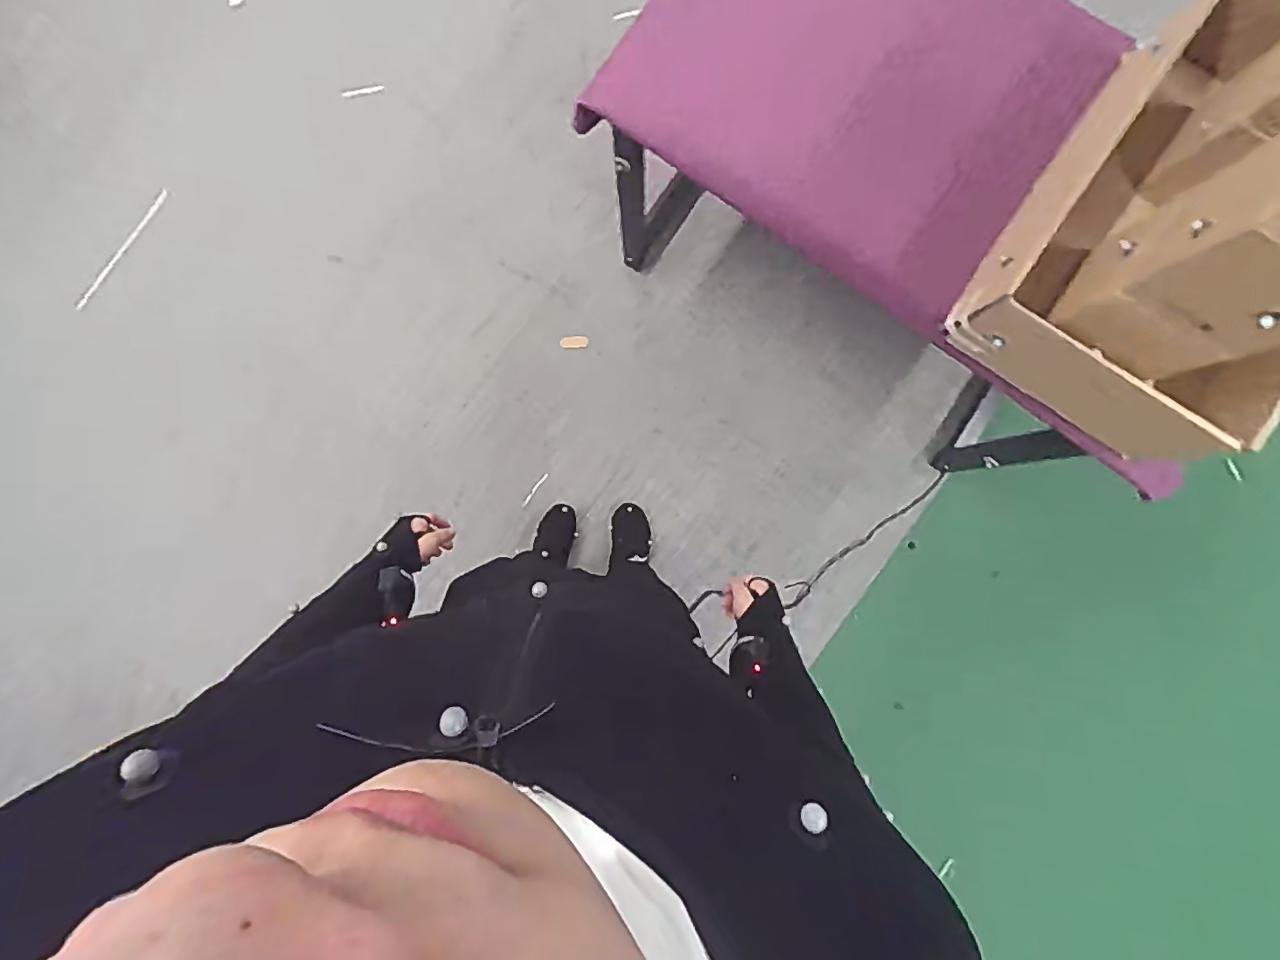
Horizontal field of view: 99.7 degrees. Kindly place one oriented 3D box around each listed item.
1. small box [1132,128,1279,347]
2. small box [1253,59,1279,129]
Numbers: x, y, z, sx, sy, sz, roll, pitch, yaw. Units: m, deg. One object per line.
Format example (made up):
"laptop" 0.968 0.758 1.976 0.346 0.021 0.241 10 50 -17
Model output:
"small box" 0.754 -0.288 0.641 0.168 0.176 0.179 36 87 3
"small box" 0.924 -0.520 0.648 0.168 0.176 0.179 37 90 3
